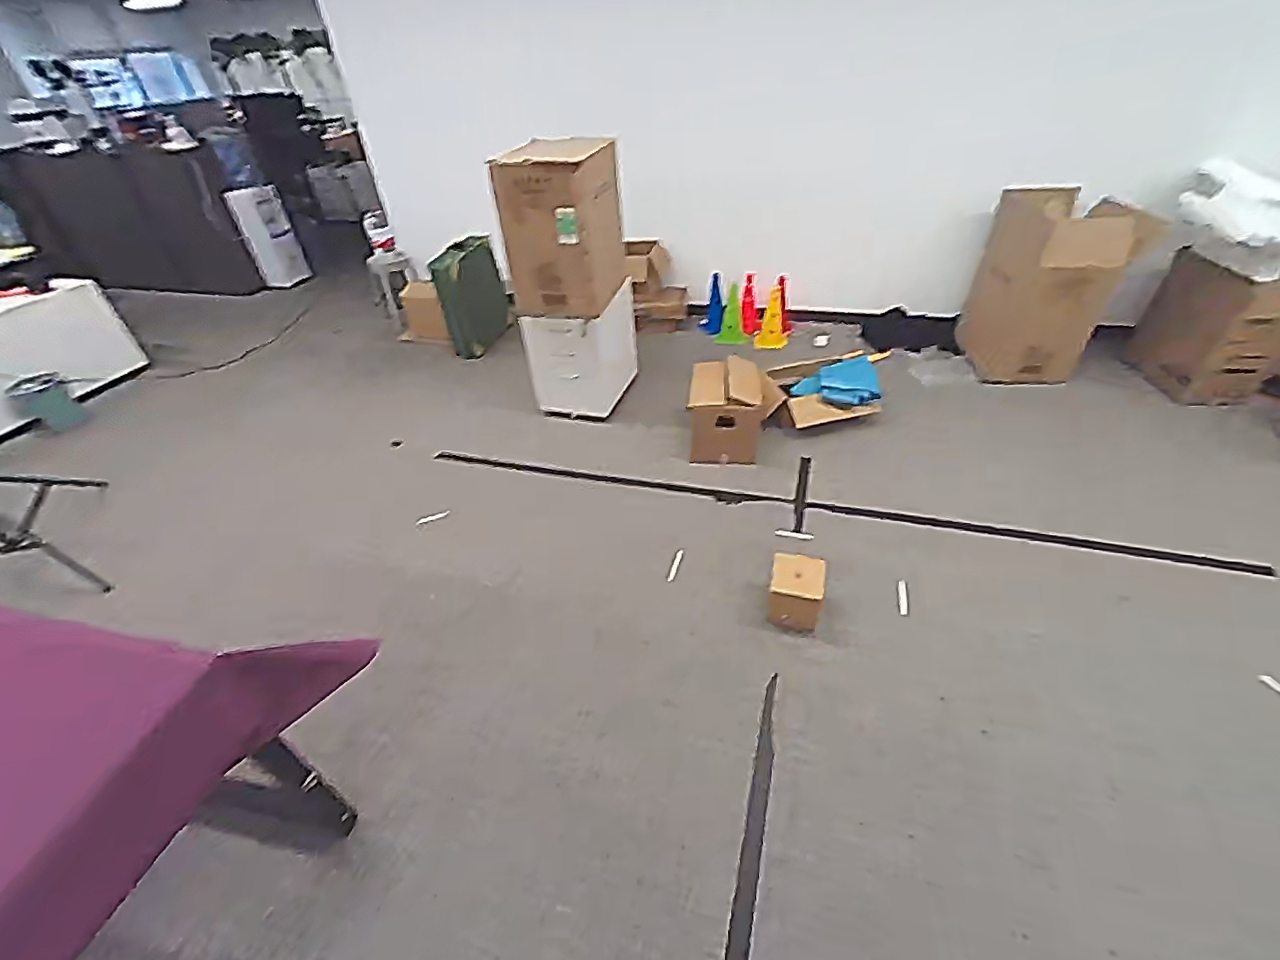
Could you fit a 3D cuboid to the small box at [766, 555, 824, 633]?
[{"bbox_3d":[0.520,0.384,1.823,0.168,0.176,0.179,7,41,16],"label":"small box"}]
